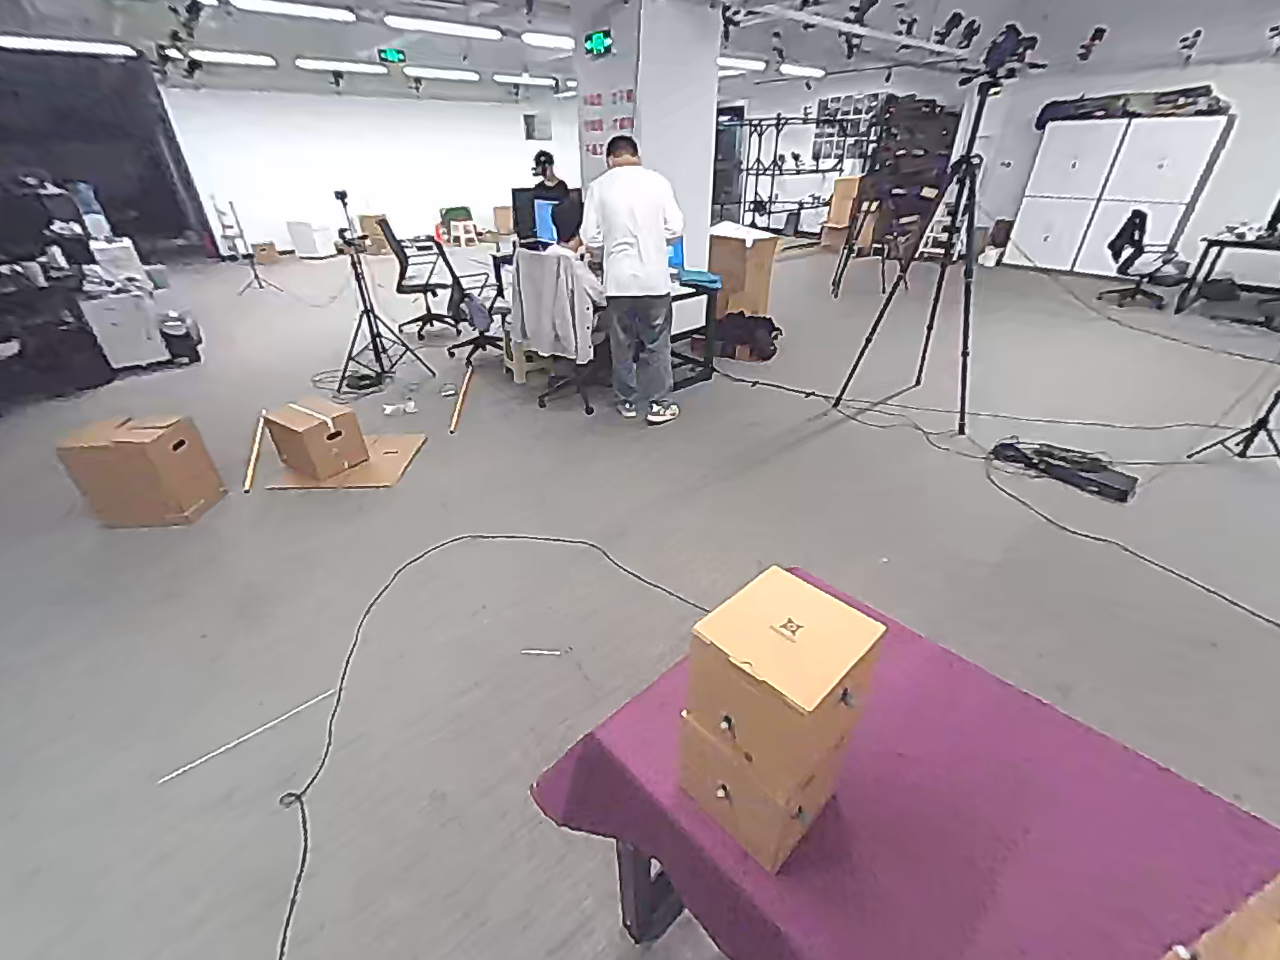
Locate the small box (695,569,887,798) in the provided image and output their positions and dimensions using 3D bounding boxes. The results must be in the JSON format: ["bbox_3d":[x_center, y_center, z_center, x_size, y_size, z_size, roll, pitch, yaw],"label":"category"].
[{"bbox_3d":[0.183,0.253,0.695,0.179,0.176,0.168,-26,40,-35],"label":"small box"}]

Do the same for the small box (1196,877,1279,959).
[{"bbox_3d":[0.513,0.443,0.375,0.168,0.176,0.179,-23,39,-33],"label":"small box"}]
